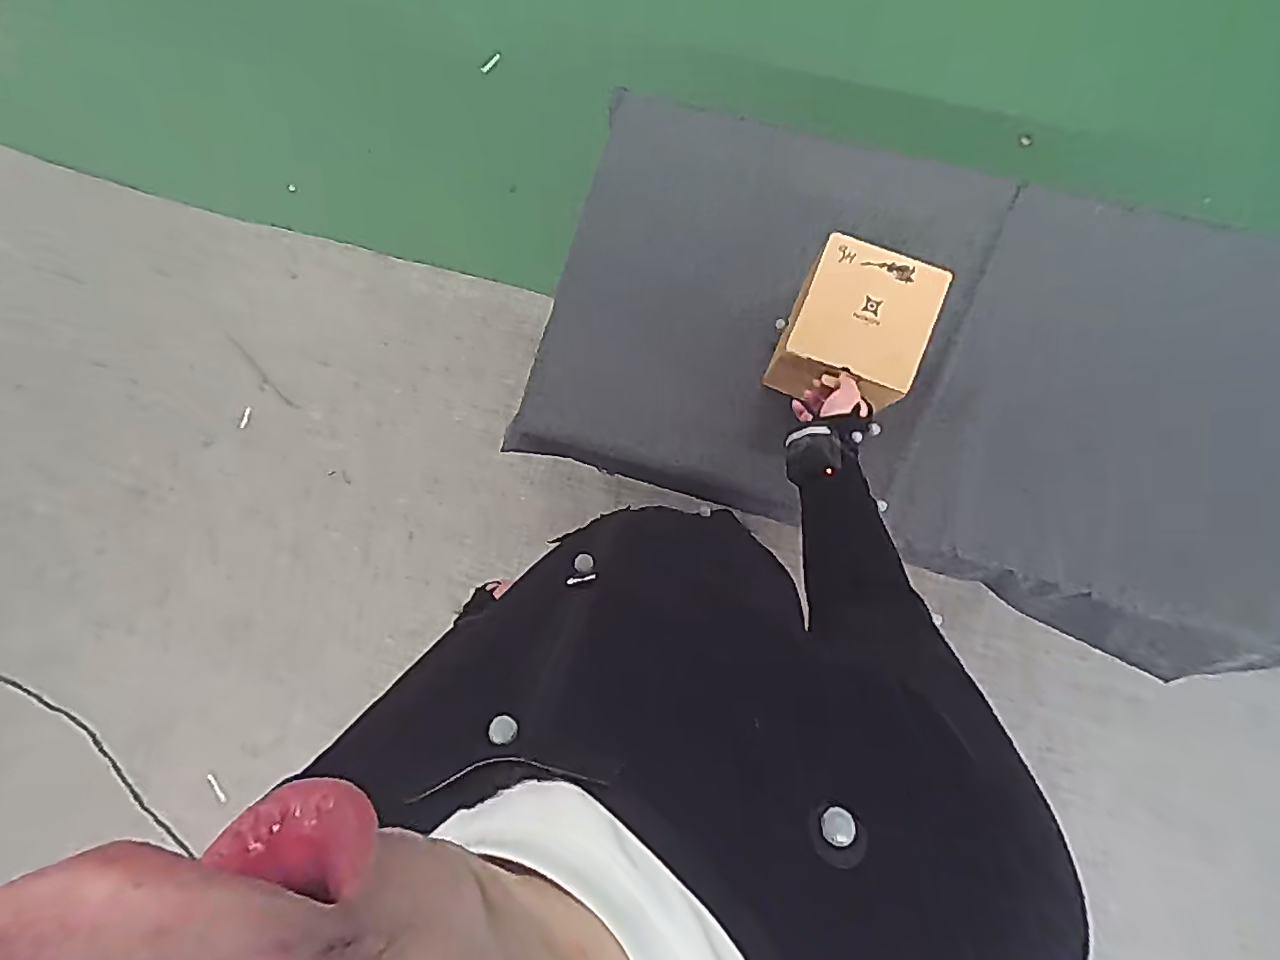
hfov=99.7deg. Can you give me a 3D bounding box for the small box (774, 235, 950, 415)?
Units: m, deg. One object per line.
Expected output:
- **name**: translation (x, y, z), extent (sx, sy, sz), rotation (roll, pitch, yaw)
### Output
- **small box**: translation (0.302, -0.209, 0.778), extent (0.168, 0.176, 0.179), rotation (20, 86, 6)
